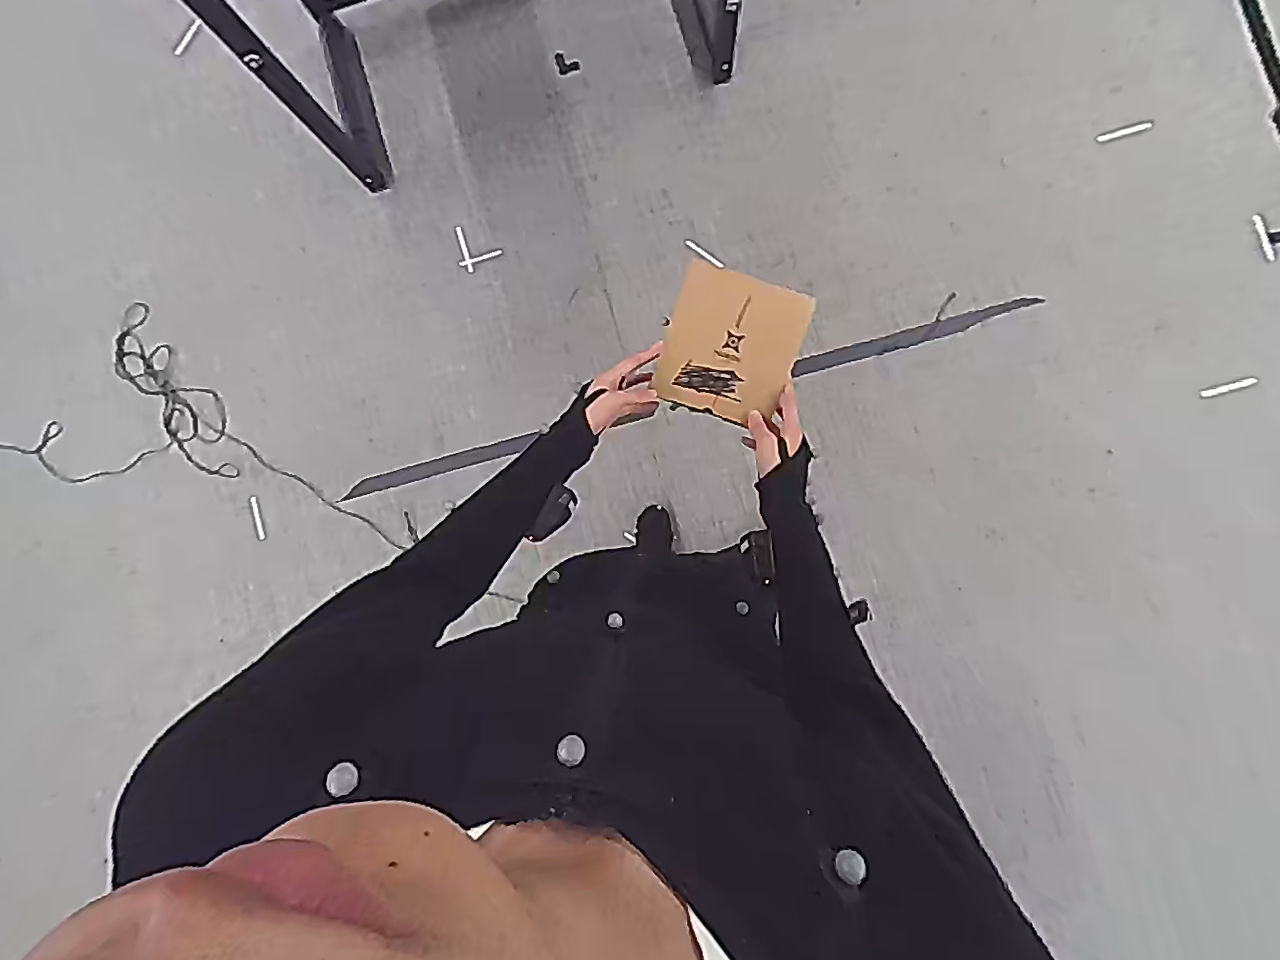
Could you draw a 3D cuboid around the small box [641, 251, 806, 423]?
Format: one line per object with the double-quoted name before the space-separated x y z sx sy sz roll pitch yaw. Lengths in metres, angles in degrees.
"small box" 0.108 -0.196 0.757 0.168 0.176 0.179 17 104 -2
